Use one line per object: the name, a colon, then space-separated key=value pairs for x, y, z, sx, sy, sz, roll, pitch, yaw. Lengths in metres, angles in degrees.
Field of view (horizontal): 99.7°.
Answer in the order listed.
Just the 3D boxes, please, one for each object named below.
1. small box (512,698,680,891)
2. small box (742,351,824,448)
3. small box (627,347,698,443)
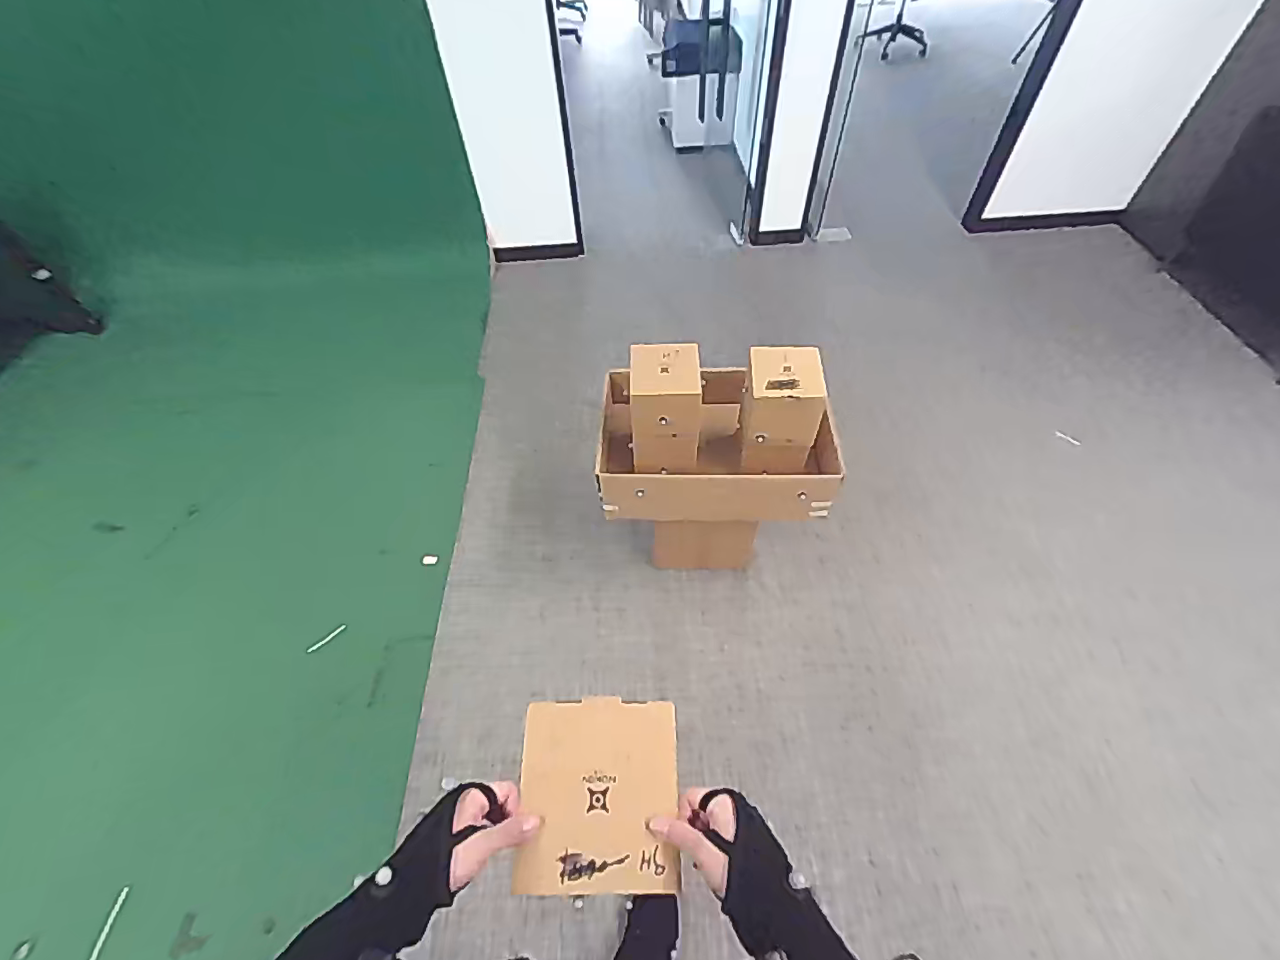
small box: x=-0.045 y=0.362 z=0.630 sx=0.168 sy=0.176 sz=0.179 roll=0 pitch=59 yaw=-1
small box: x=0.340 y=-0.194 z=1.318 sx=0.168 sy=0.176 sz=0.179 roll=2 pitch=52 yaw=5
small box: x=0.057 y=-0.206 z=1.337 sx=0.168 sy=0.176 sz=0.179 roll=0 pitch=54 yaw=2
